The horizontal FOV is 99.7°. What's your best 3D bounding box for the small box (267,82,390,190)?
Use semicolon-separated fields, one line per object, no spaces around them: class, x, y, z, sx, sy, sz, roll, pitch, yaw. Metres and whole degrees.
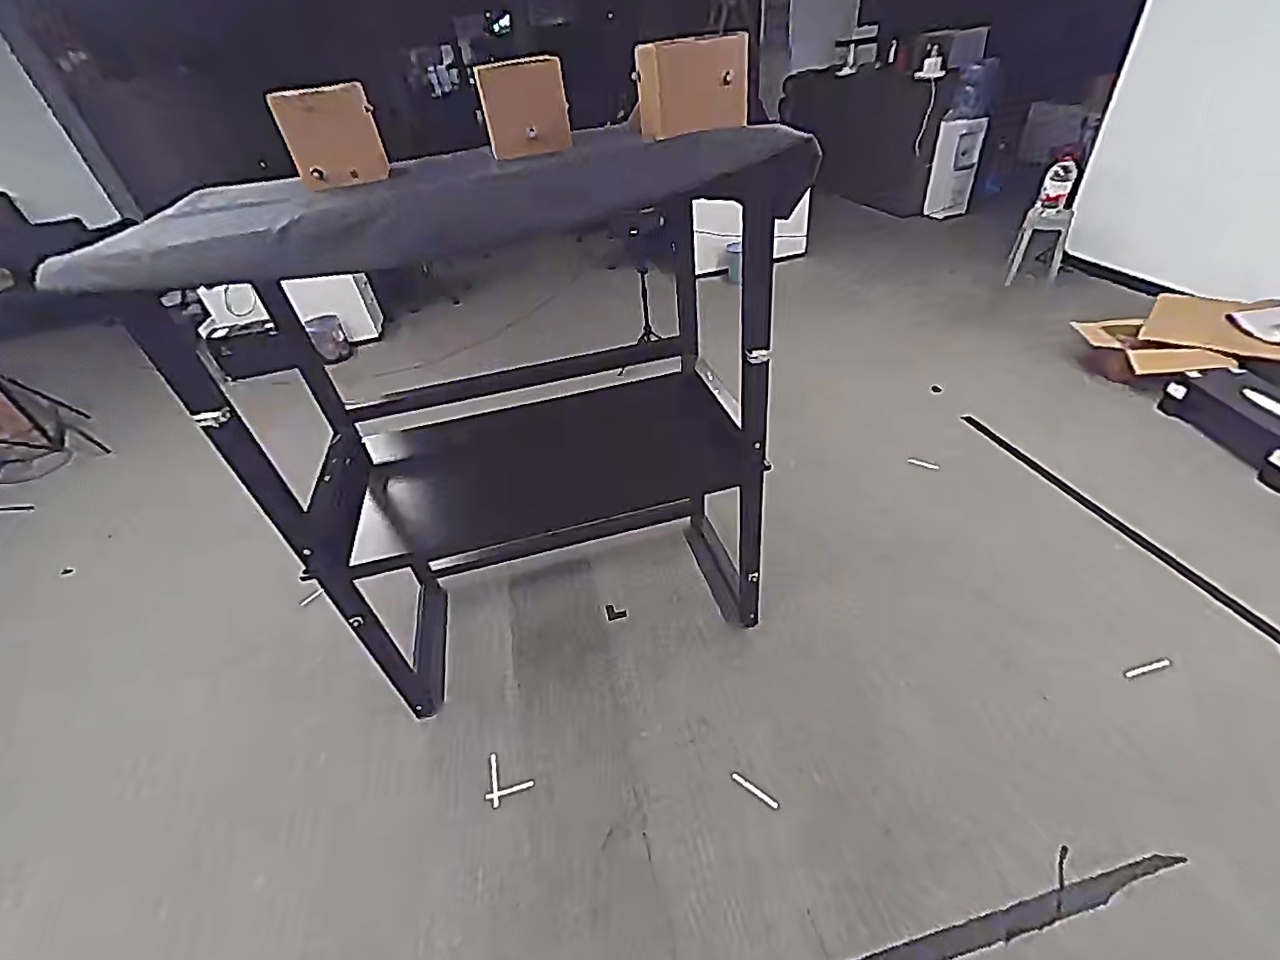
small box;-0.653;-0.733;1.157;0.168;0.176;0.179;-16;40;-10

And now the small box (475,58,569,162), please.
small box;-0.263;-0.835;1.218;0.179;0.176;0.168;-14;39;-8
